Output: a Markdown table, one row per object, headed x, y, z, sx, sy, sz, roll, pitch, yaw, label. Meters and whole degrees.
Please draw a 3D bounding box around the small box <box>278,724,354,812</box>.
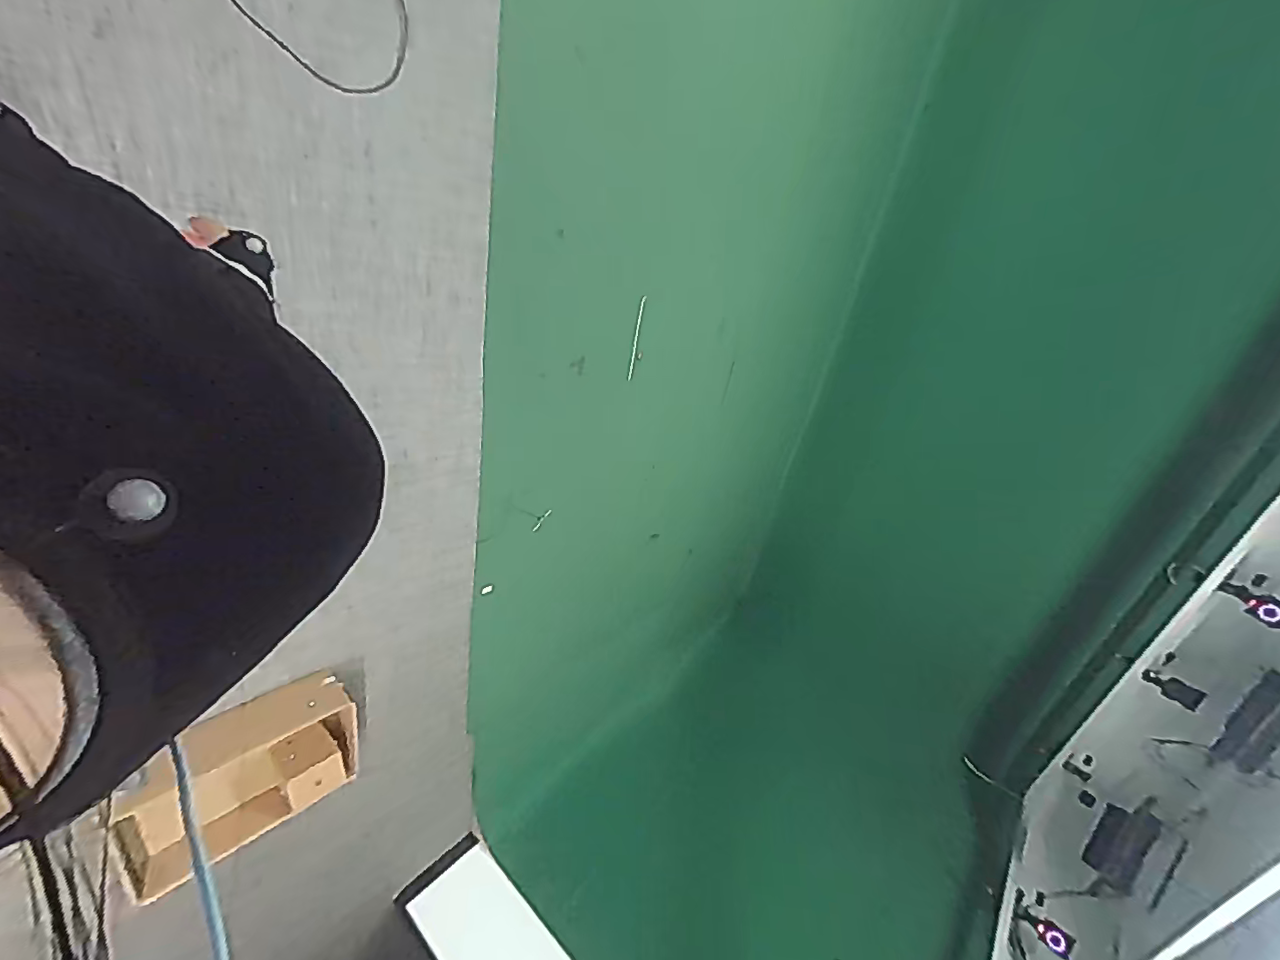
| x | y | z | sx | sy | sz | roll | pitch | yaw | label |
| --- | --- | --- | --- | --- | --- | --- | --- | --- | --- |
| -1.101 | 0.964 | 1.836 | 0.168 | 0.176 | 0.179 | -22 | 131 | -44 | small box |
